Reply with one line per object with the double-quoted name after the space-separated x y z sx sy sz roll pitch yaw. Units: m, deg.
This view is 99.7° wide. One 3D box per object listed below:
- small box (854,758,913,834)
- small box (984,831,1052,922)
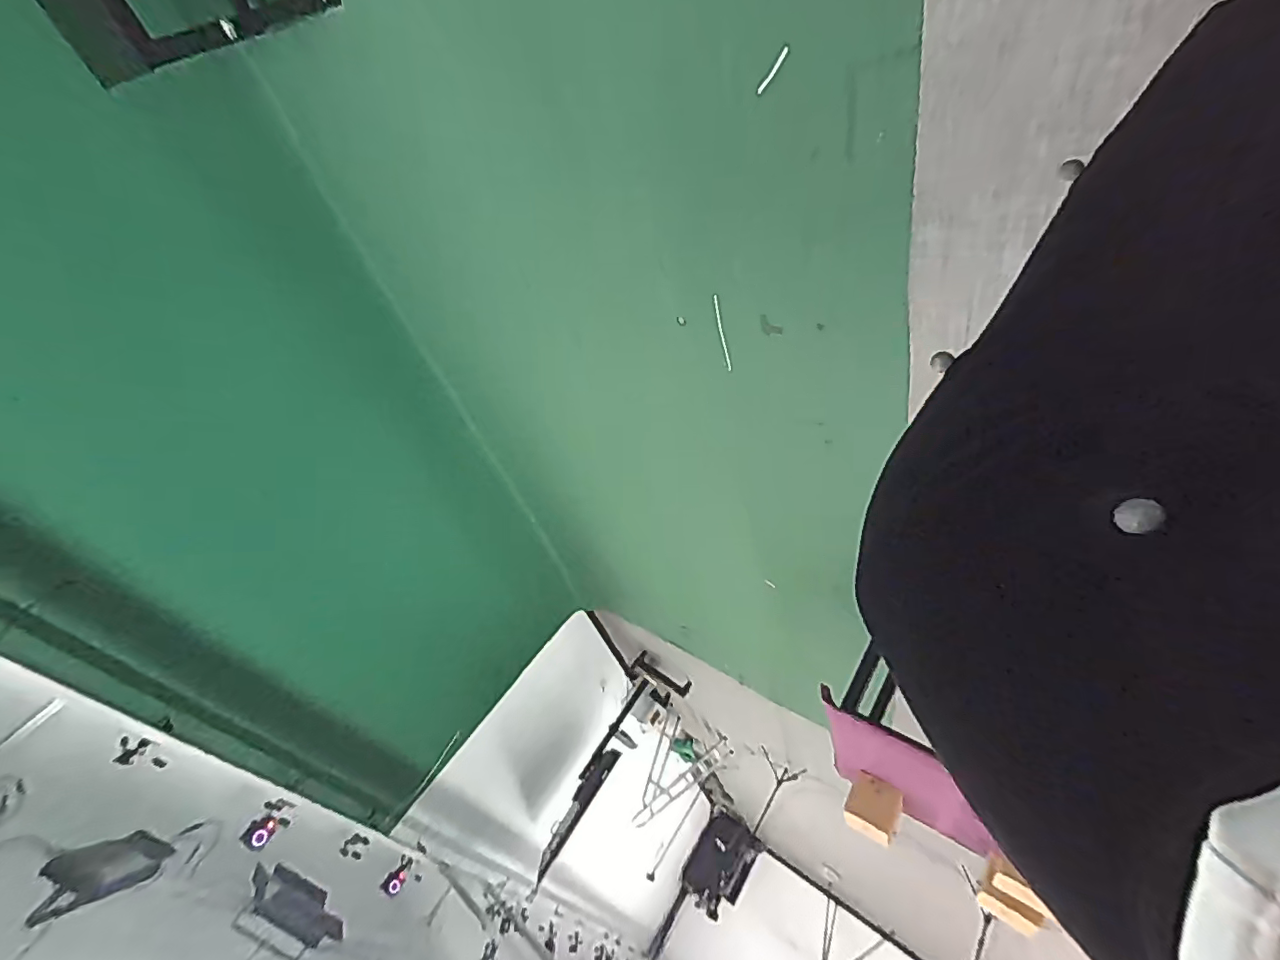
0.958 1.235 2.120 0.168 0.176 0.179 15 143 38 "small box"
1.299 1.343 1.836 0.168 0.176 0.179 20 145 37 "small box"
